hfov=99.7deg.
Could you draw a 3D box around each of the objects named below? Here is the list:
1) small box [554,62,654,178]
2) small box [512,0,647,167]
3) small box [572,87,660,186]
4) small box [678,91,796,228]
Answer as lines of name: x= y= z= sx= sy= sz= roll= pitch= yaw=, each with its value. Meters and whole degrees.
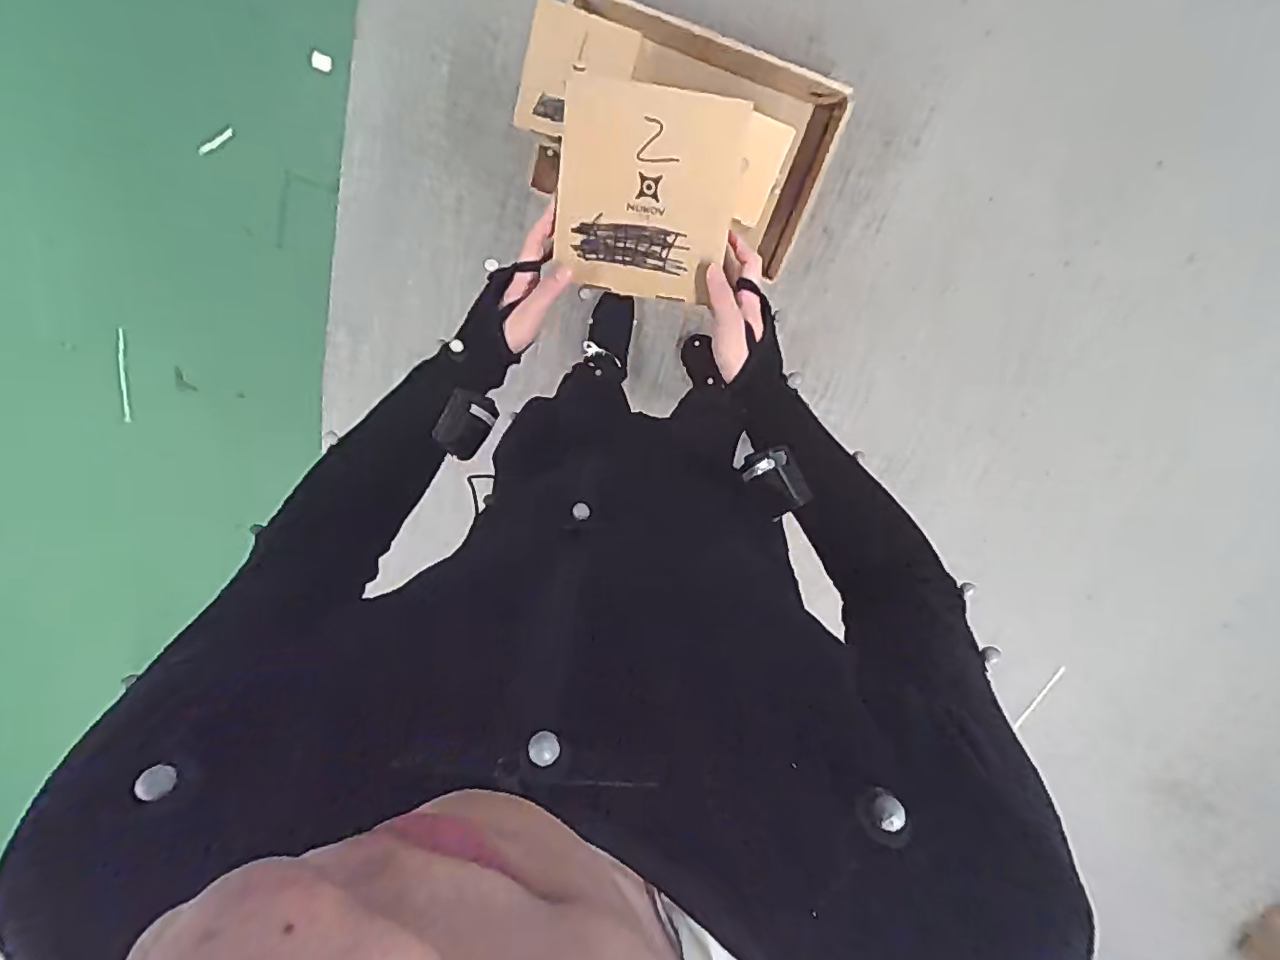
small box: x=-0.077 y=-0.716 z=1.052 sx=0.168 sy=0.176 sz=0.179 roll=21 pitch=113 yaw=-4
small box: x=-0.093 y=-0.650 z=0.902 sx=0.168 sy=0.176 sz=0.179 roll=20 pitch=113 yaw=-3
small box: x=-0.061 y=-0.781 z=1.199 sx=0.168 sy=0.176 sz=0.179 roll=22 pitch=112 yaw=-3
small box: x=0.182 y=-0.618 z=1.066 sx=0.168 sy=0.176 sz=0.179 roll=22 pitch=114 yaw=-3
